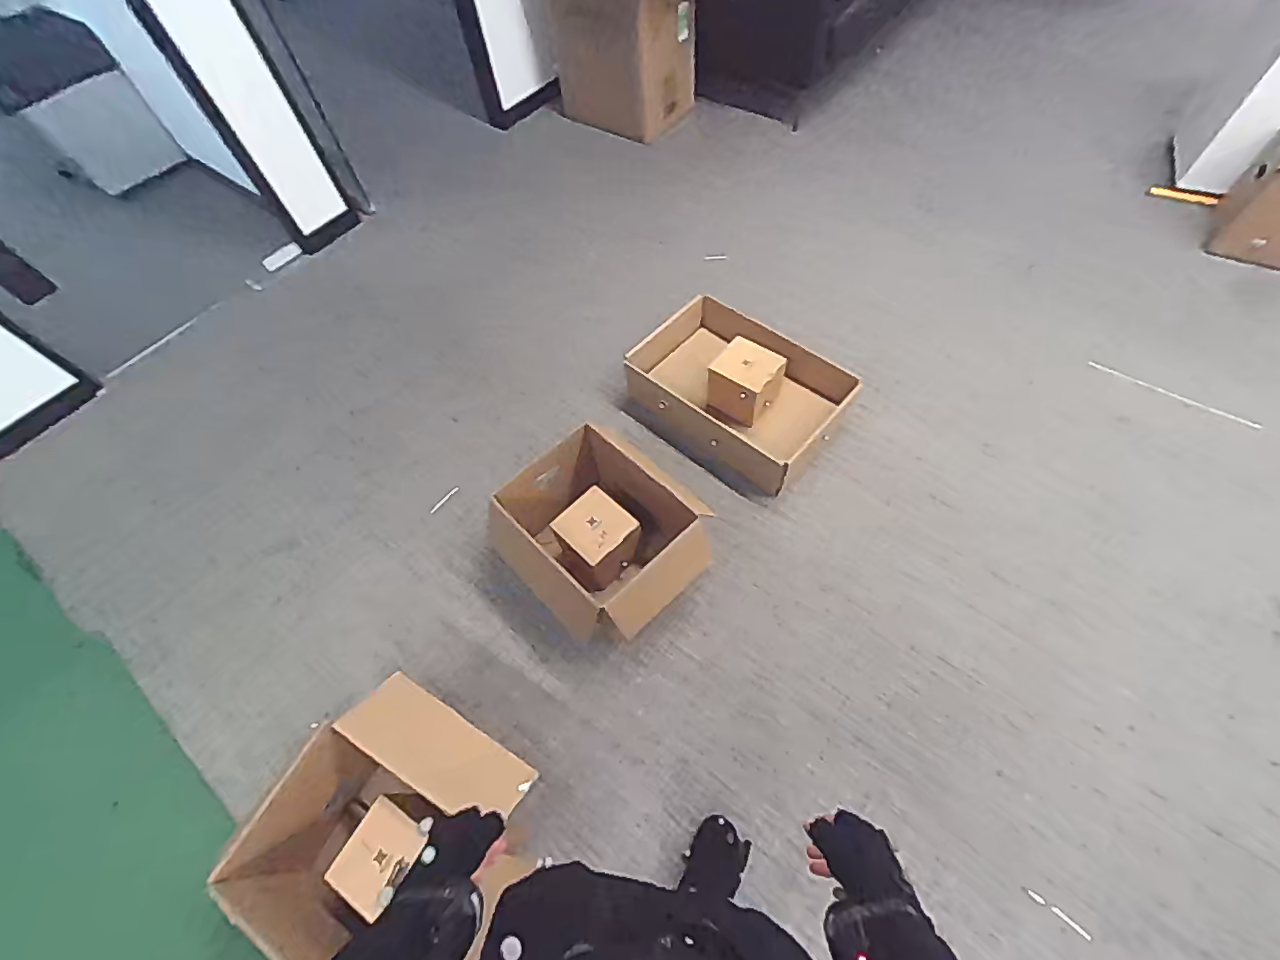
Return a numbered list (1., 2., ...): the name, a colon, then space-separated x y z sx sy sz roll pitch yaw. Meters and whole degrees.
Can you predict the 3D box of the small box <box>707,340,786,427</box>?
1. small box: 0.321 -0.293 1.671 0.179 0.176 0.168 33 66 22
